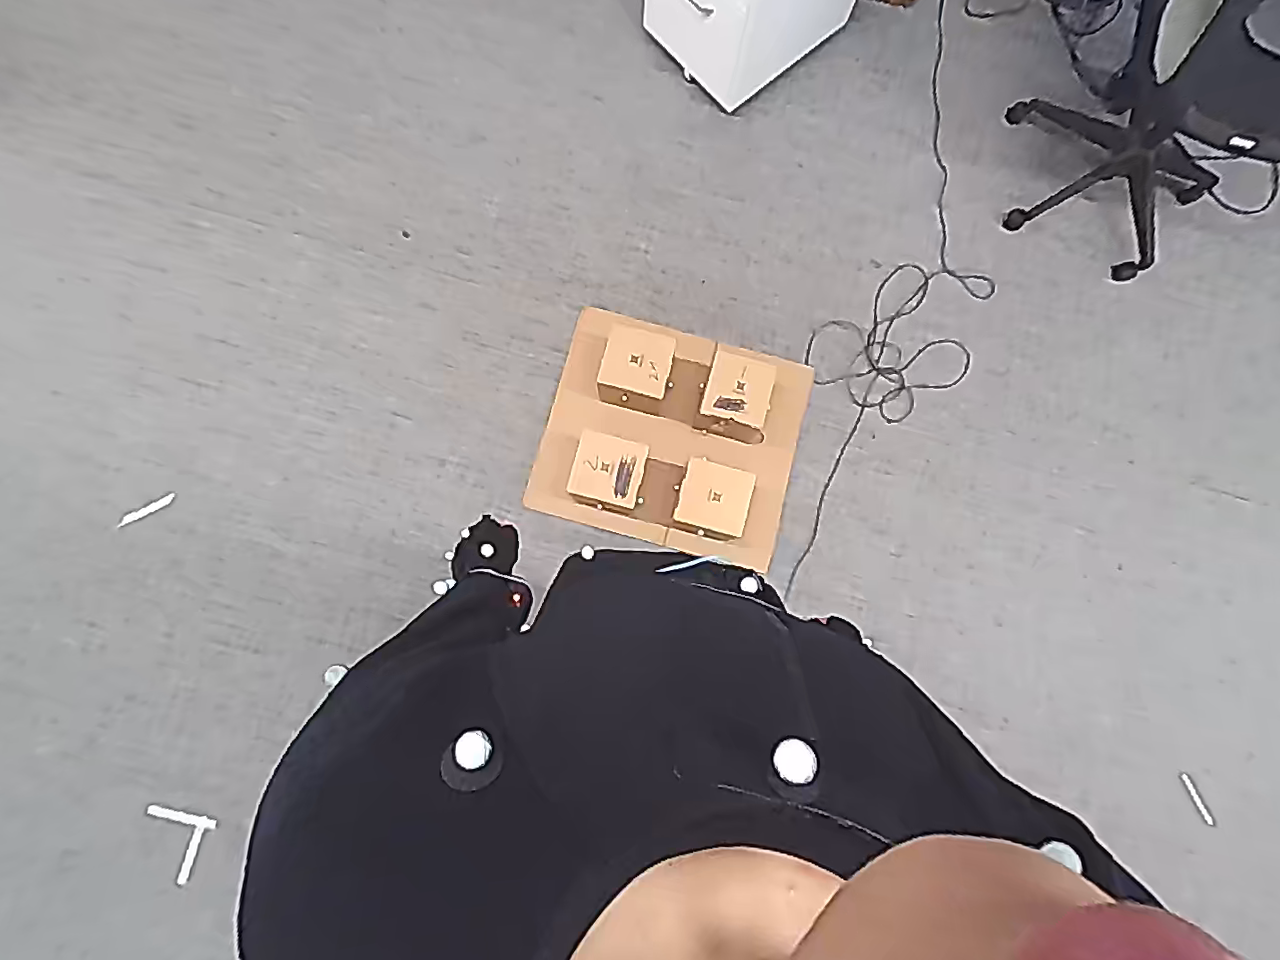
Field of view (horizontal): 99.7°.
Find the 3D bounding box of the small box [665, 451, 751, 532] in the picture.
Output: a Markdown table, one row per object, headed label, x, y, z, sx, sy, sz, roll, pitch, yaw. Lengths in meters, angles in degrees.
| label | x | y | z | sx | sy | sz | roll | pitch | yaw |
| --- | --- | --- | --- | --- | --- | --- | --- | --- | --- |
| small box | 0.172 | 0.037 | 1.422 | 0.179 | 0.176 | 0.168 | 16 | 82 | 3 |
